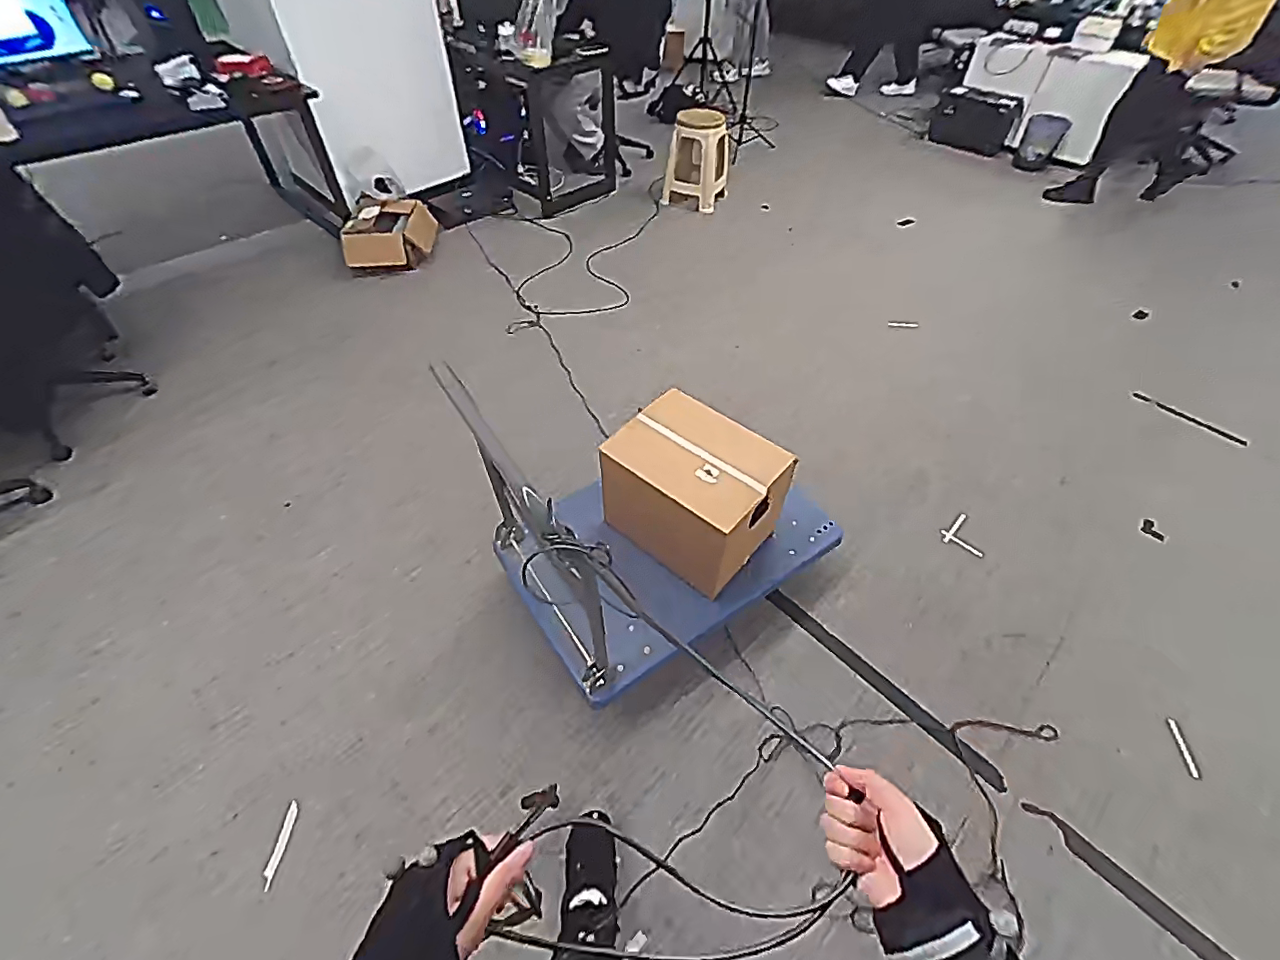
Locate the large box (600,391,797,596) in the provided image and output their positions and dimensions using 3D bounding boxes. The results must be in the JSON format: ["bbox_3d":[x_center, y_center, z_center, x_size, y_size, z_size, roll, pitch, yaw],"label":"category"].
[{"bbox_3d":[0.139,0.031,1.461,0.408,0.320,0.320,34,58,24],"label":"large box"}]
